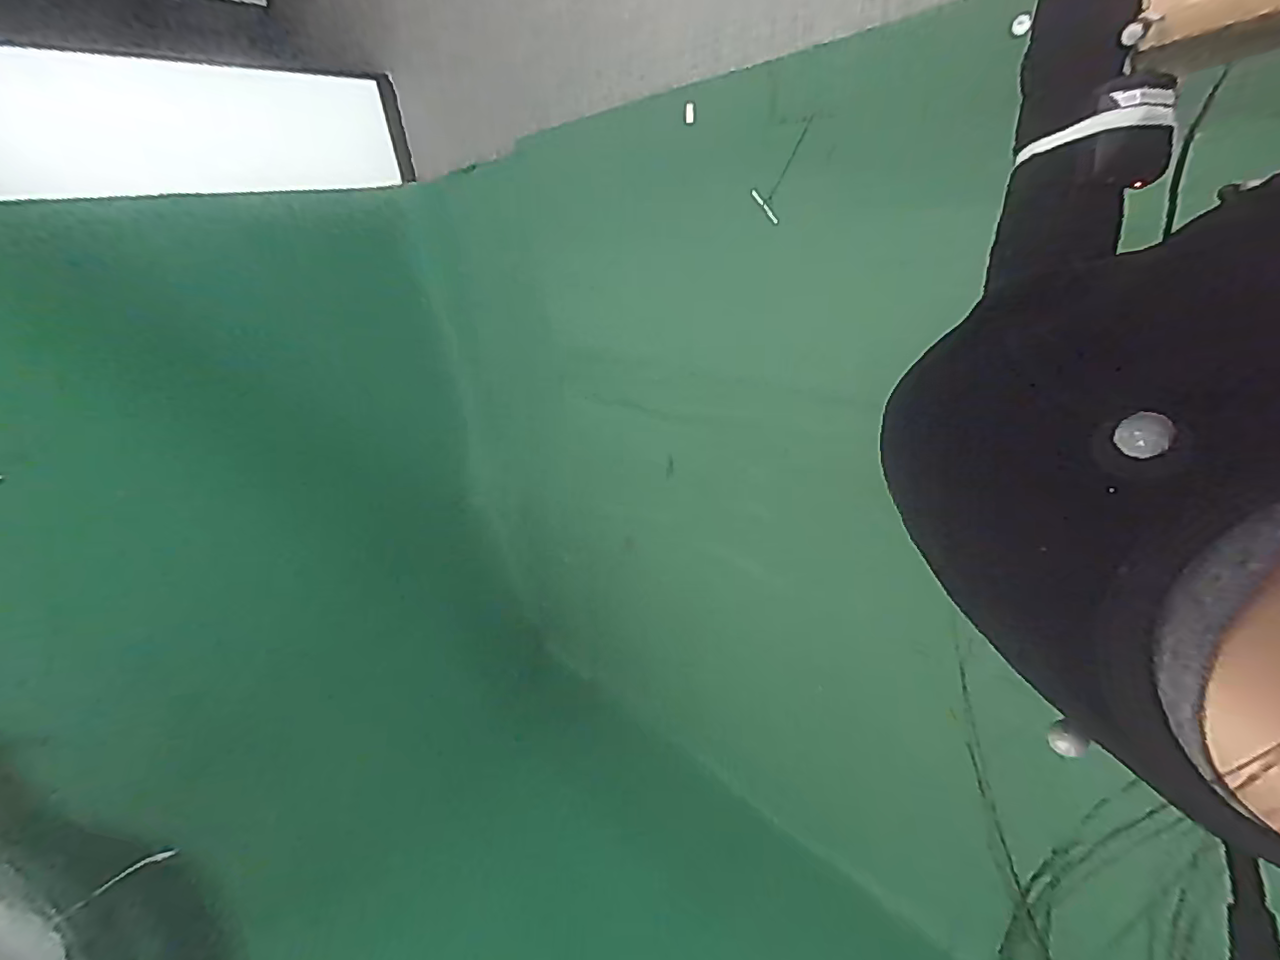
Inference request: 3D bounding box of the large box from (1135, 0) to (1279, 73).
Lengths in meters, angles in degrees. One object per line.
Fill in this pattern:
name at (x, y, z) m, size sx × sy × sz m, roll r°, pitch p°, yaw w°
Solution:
large box at (0.566, -0.485, 0.297) m, size 0.408 × 0.320 × 0.320 m, roll 8°, pitch 120°, yaw 39°
